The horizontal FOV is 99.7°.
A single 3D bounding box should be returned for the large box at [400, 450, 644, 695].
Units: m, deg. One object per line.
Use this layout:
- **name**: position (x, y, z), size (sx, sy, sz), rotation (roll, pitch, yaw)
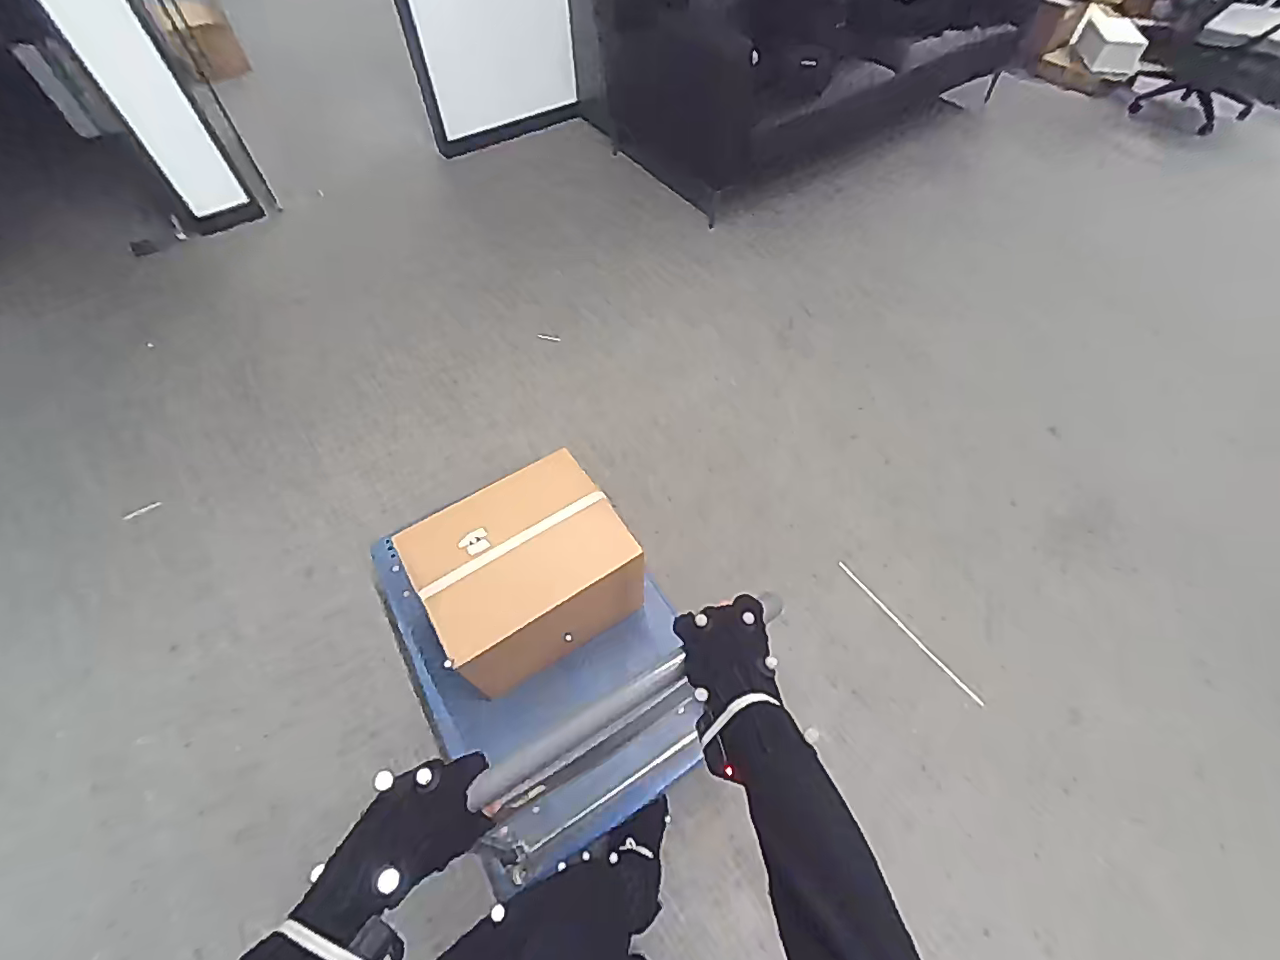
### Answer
- **large box**: position (-0.239, 0.210, 1.211), size (0.408, 0.320, 0.320), rotation (-31, 62, -18)
